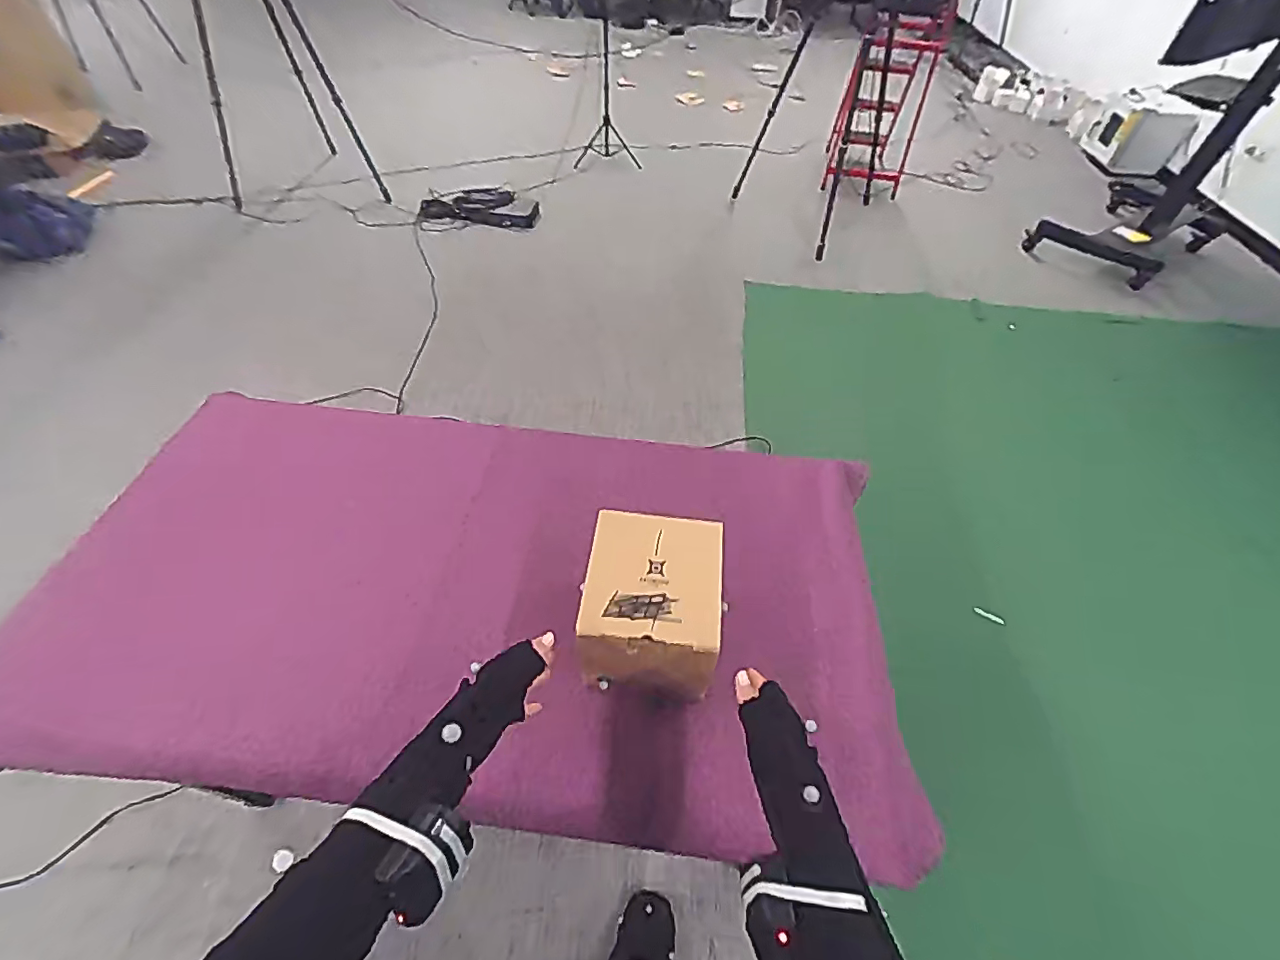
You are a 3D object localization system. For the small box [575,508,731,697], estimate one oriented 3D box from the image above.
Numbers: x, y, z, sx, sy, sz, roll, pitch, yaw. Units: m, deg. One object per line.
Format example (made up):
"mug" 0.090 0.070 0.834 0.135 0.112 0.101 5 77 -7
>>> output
"small box" 0.018 0.165 0.710 0.168 0.176 0.179 10 51 3
